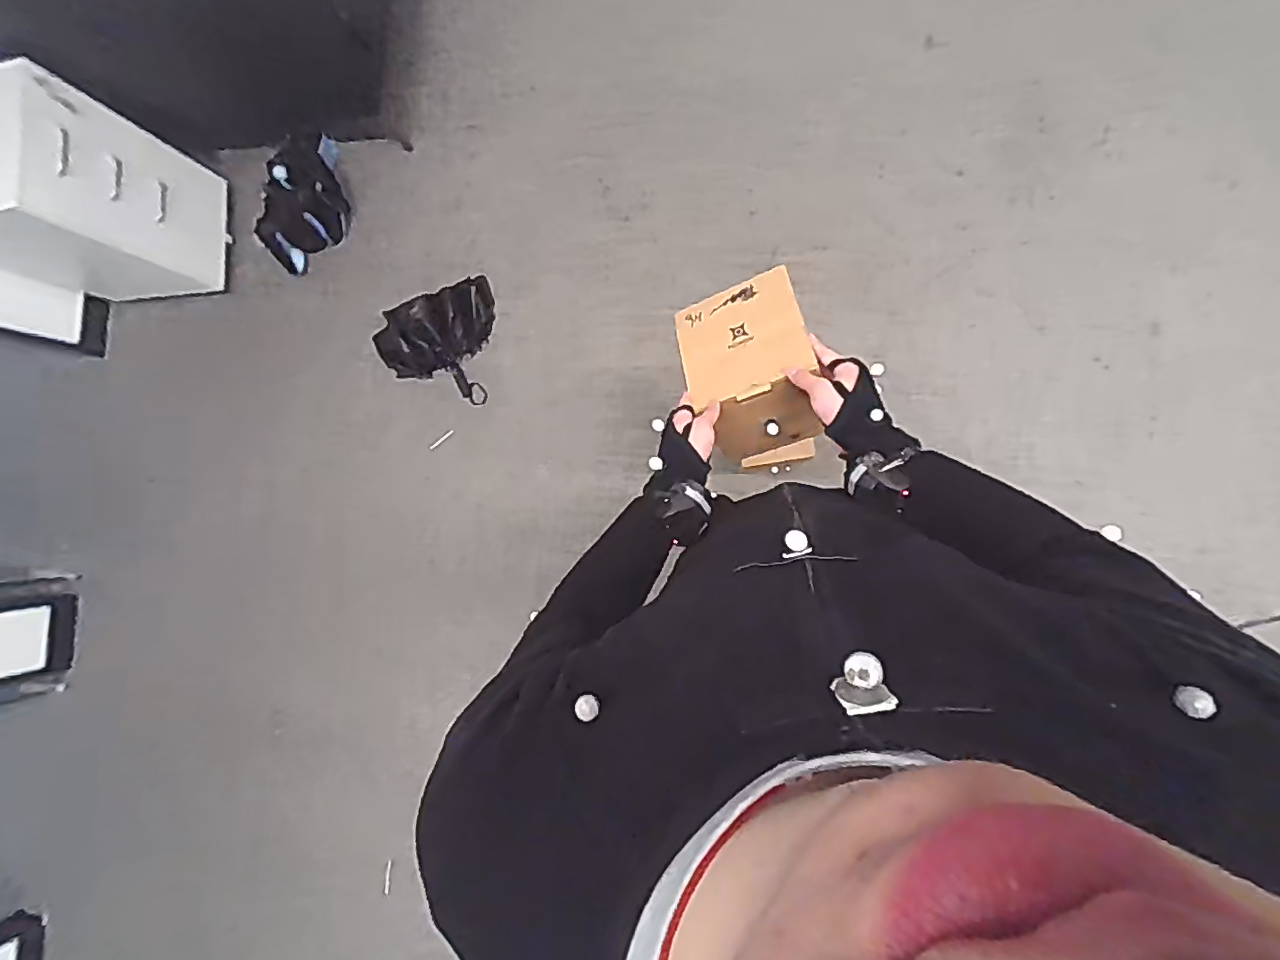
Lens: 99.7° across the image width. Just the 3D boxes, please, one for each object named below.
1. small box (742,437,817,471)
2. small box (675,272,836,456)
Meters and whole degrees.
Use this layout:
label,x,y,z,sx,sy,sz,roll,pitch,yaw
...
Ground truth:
label,x,y,z,sx,sy,sz,roll,pitch,yaw
small box,0.322,-0.121,1.299,0.168,0.176,0.179,-8,87,13
small box,0.168,-0.150,0.774,0.168,0.176,0.179,-18,61,22
